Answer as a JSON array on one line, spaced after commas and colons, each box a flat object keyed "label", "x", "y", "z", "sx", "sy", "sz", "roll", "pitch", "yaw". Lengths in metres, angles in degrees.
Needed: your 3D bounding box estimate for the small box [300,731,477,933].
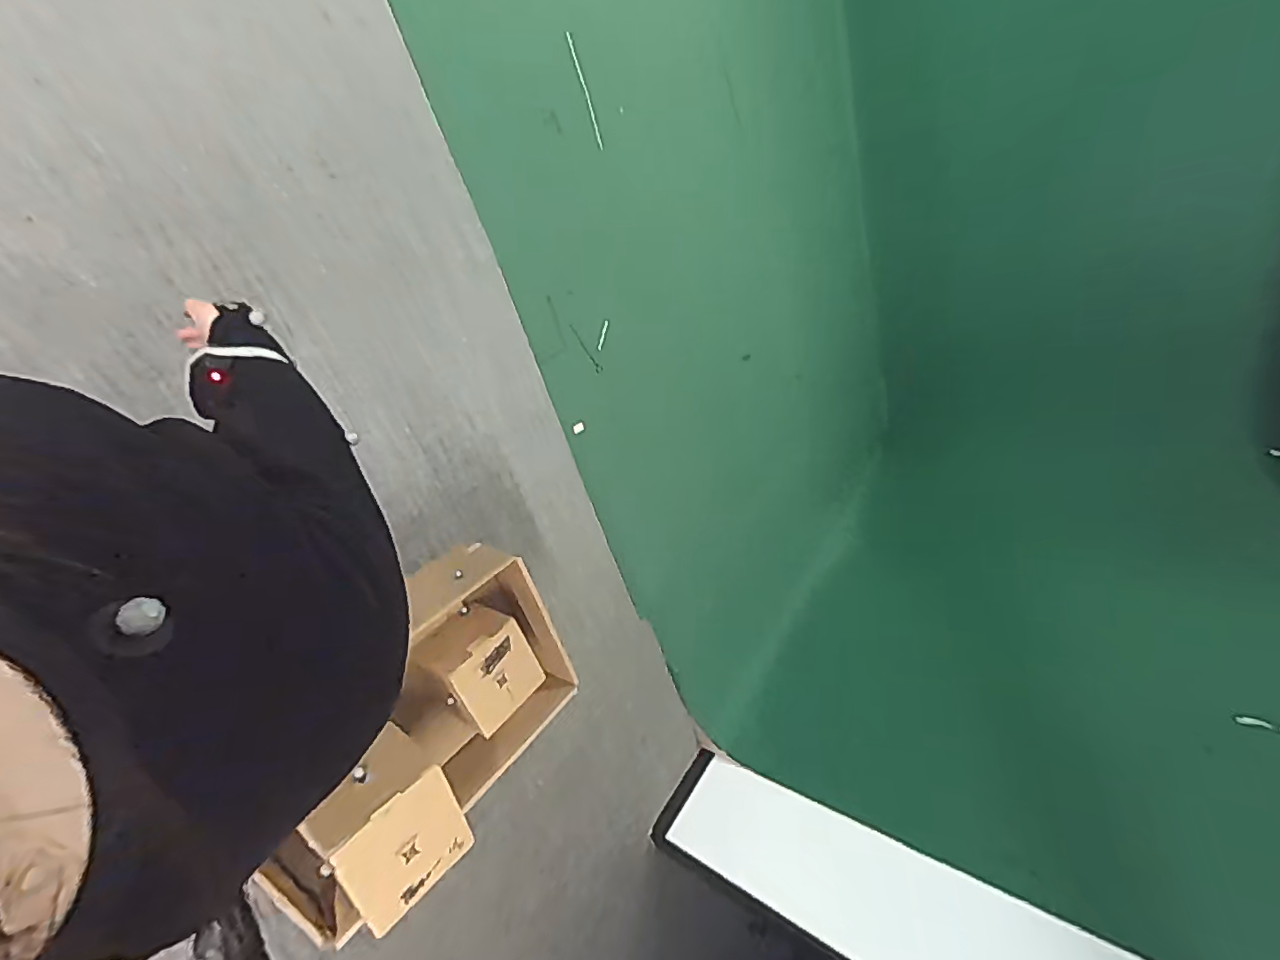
[{"label": "small box", "x": -0.388, "y": 0.520, "z": 0.833, "sx": 0.168, "sy": 0.176, "sz": 0.179, "roll": -31, "pitch": 115, "yaw": -40}]
